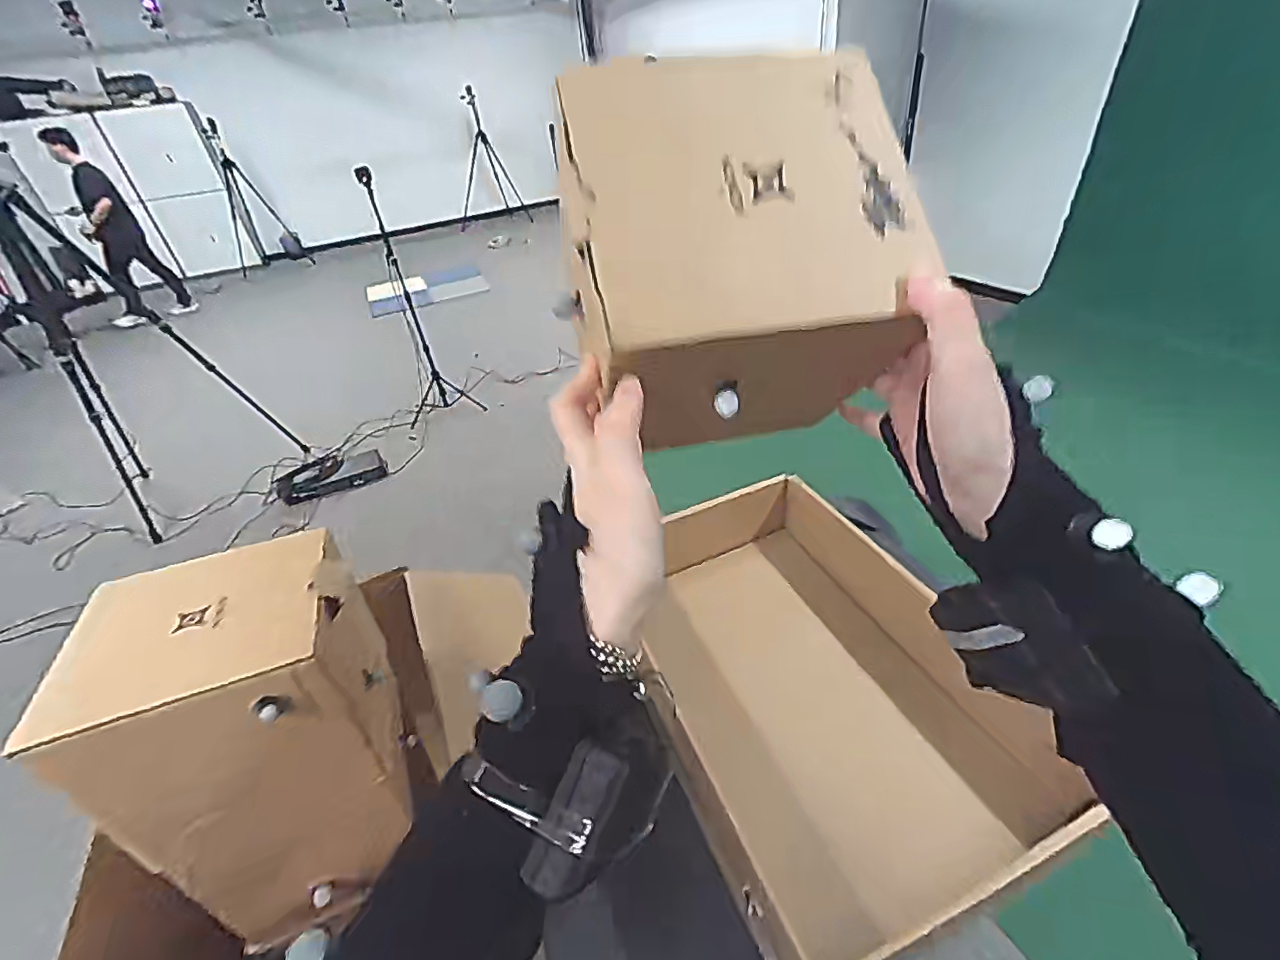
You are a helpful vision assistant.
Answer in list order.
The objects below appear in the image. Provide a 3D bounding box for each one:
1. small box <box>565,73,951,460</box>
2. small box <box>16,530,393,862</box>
[{"bbox_3d":[0.054,-0.122,0.360,0.179,0.176,0.168,-10,76,-7],"label":"small box"},{"bbox_3d":[-0.329,0.175,0.460,0.179,0.176,0.168,-16,35,-18],"label":"small box"}]
